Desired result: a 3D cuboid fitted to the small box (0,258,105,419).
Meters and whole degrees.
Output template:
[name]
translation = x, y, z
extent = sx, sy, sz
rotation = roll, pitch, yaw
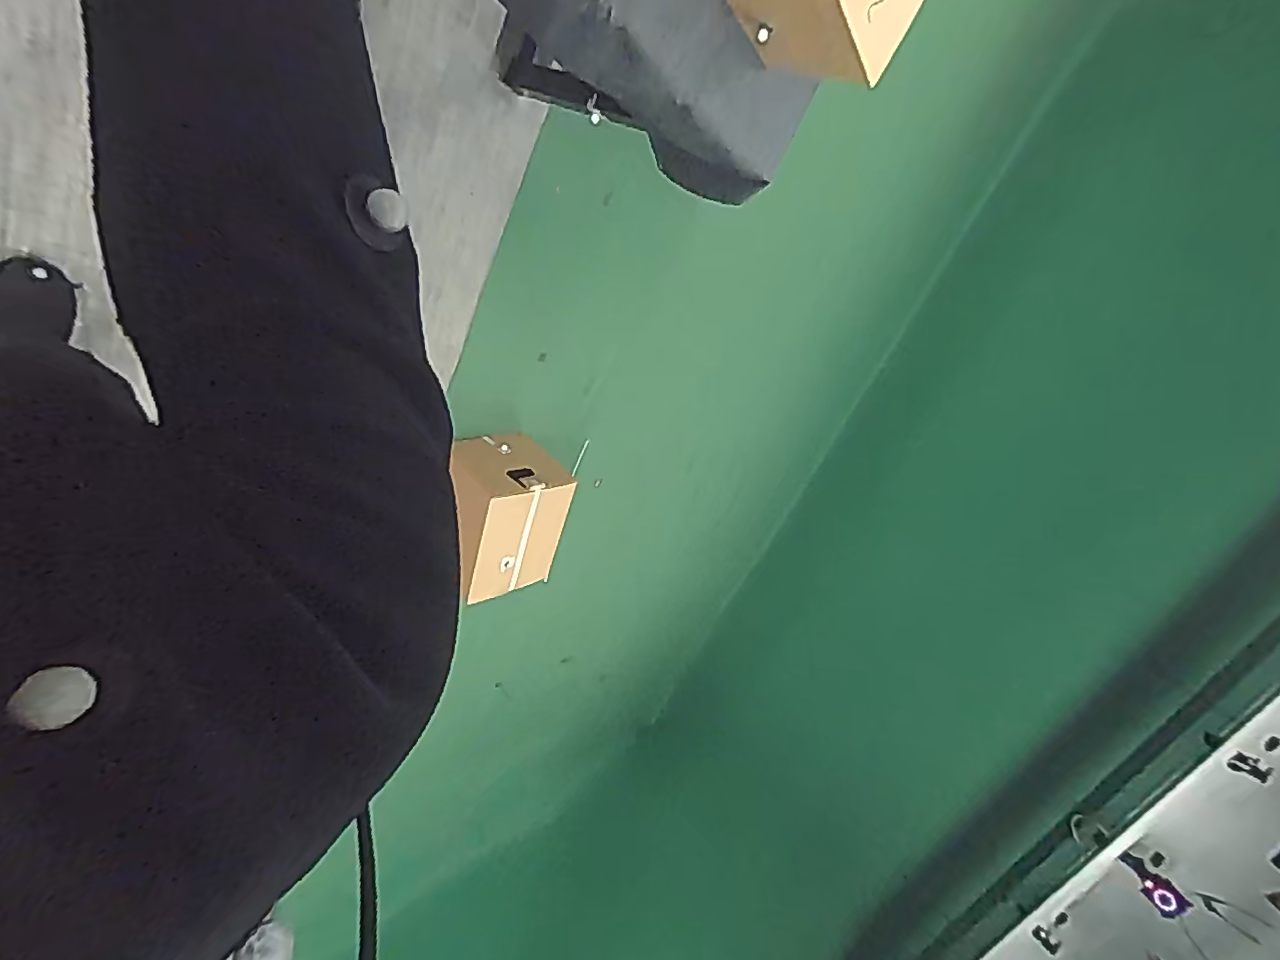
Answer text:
[small box]
translation = -0.971, -0.205, 0.806
extent = 0.176, 0.168, 0.179
rotation = -17, 142, -18
